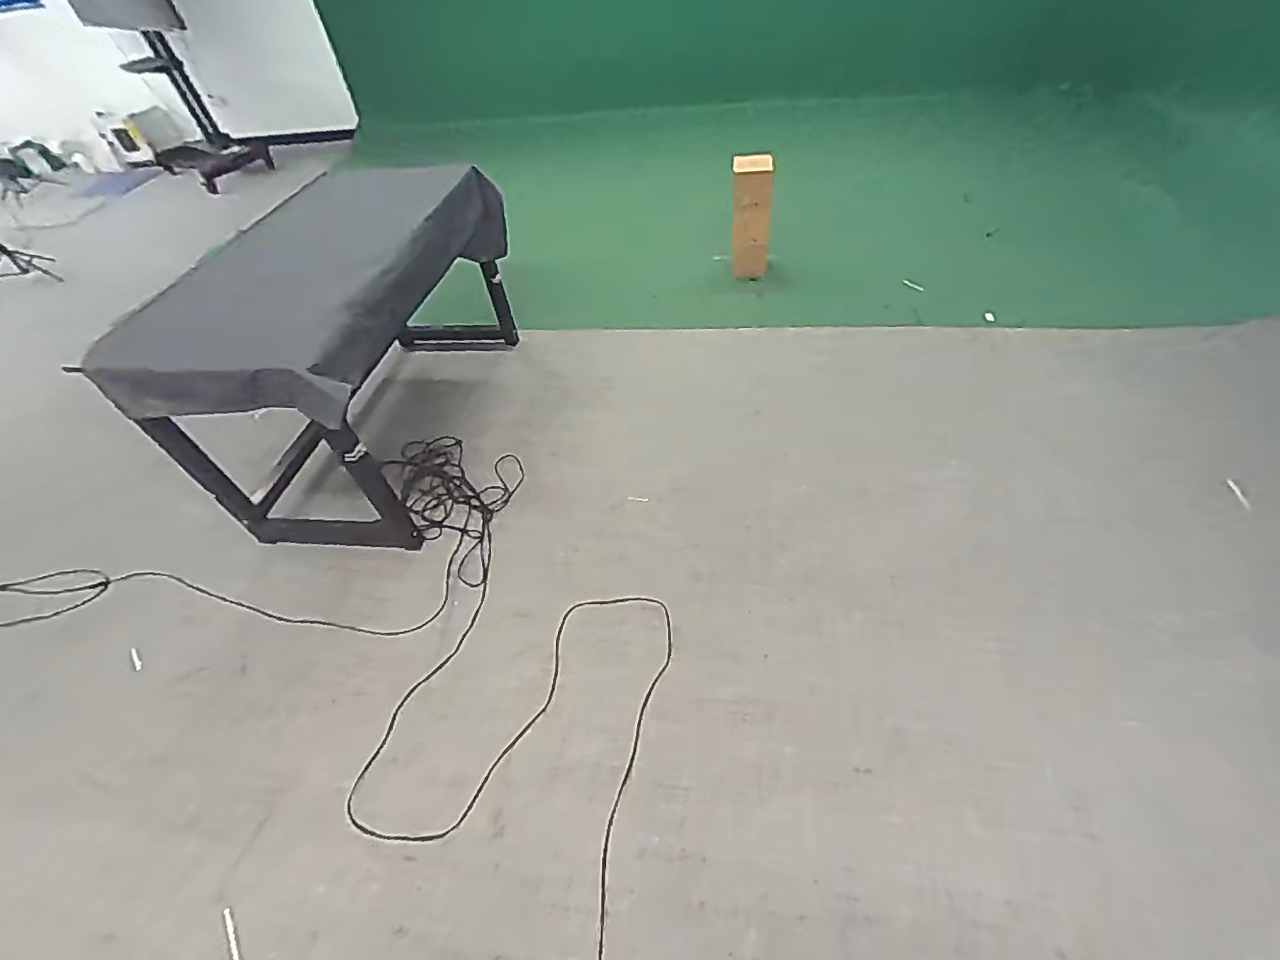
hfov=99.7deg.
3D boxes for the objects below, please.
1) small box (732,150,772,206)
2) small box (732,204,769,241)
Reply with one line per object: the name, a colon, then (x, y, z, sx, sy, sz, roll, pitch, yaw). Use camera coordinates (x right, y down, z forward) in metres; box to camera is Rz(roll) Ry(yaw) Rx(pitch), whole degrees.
small box: (0.493, -1.336, 2.397, 0.168, 0.176, 0.179, 0, 50, 10)
small box: (0.515, -1.233, 2.522, 0.168, 0.176, 0.179, 3, 49, 10)
